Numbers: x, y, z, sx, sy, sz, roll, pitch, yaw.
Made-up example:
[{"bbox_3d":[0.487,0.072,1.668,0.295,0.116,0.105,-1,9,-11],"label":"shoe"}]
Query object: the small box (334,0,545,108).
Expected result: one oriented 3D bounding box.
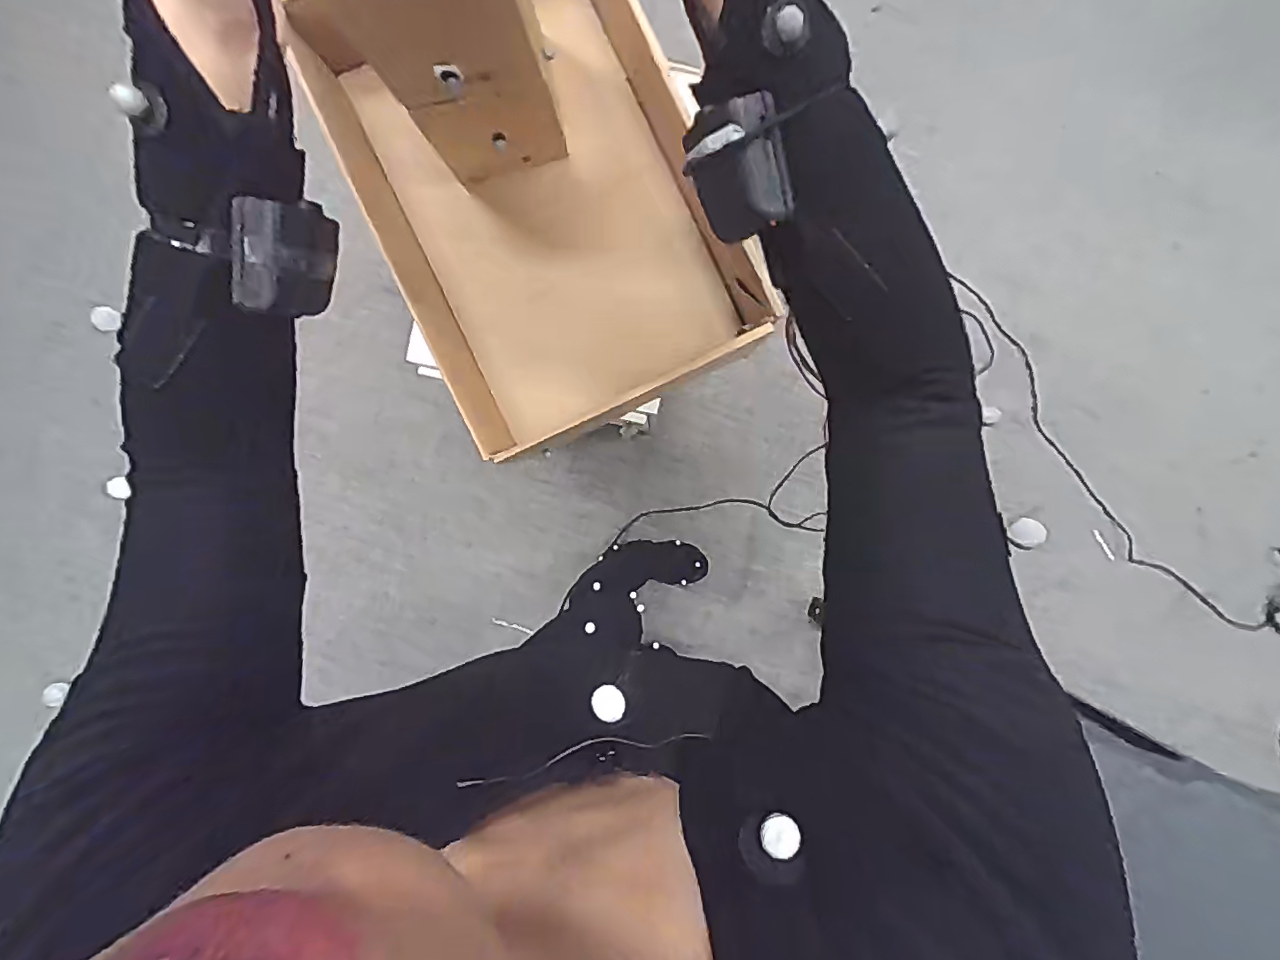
[{"bbox_3d":[-0.202,-0.515,0.527,0.168,0.176,0.179,-10,93,5],"label":"small box"}]
